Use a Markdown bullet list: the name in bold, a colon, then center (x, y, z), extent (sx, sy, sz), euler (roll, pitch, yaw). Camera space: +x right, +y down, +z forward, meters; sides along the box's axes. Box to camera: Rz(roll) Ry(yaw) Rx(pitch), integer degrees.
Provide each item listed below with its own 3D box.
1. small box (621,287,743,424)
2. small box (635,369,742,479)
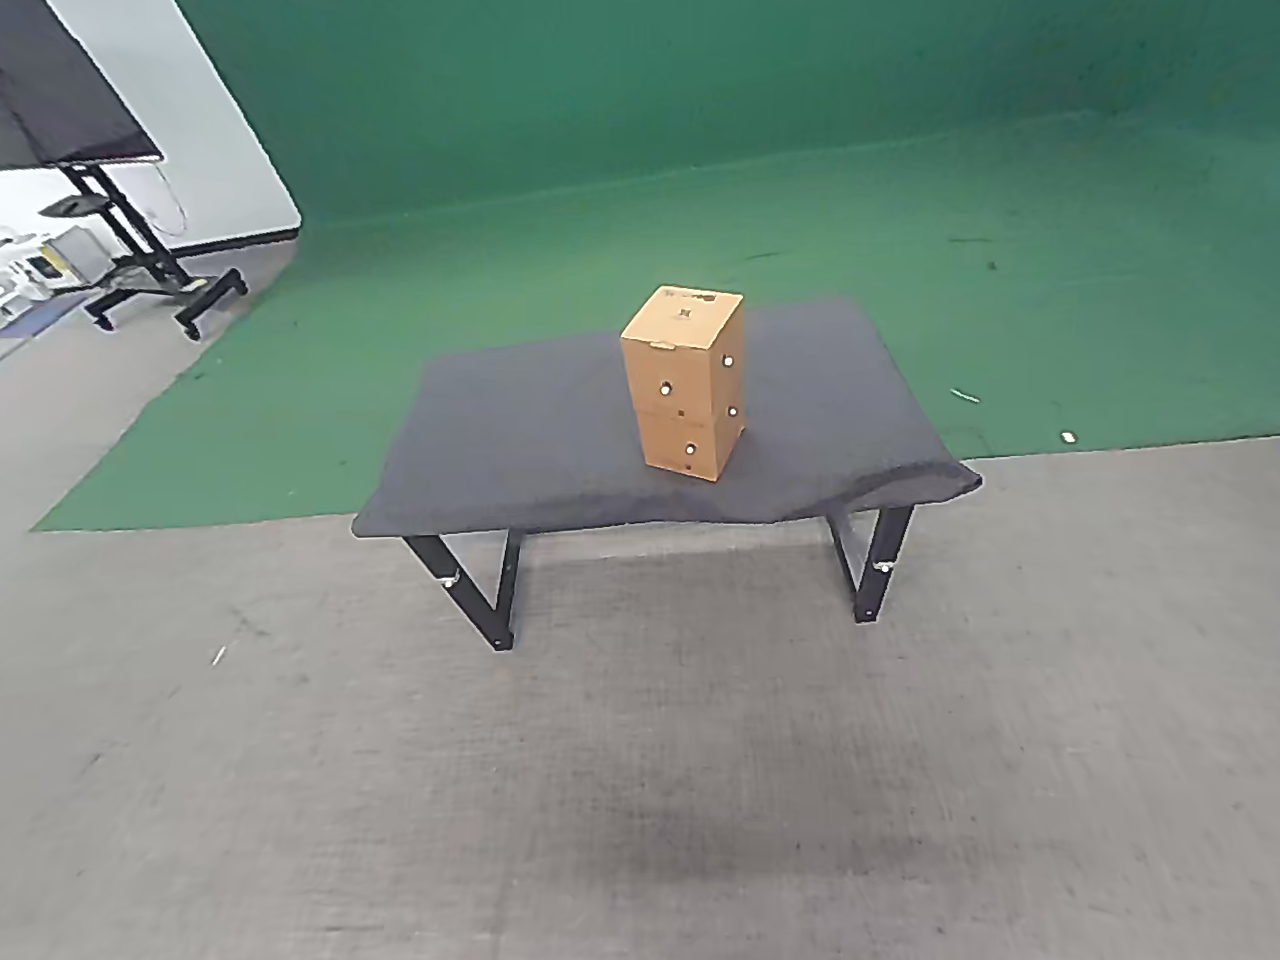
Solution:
- **small box**: center (0.087, -0.228, 0.996), extent (0.168, 0.176, 0.179), euler (16, 54, 23)
- **small box**: center (0.109, -0.128, 1.125), extent (0.168, 0.176, 0.179), euler (16, 52, 22)
